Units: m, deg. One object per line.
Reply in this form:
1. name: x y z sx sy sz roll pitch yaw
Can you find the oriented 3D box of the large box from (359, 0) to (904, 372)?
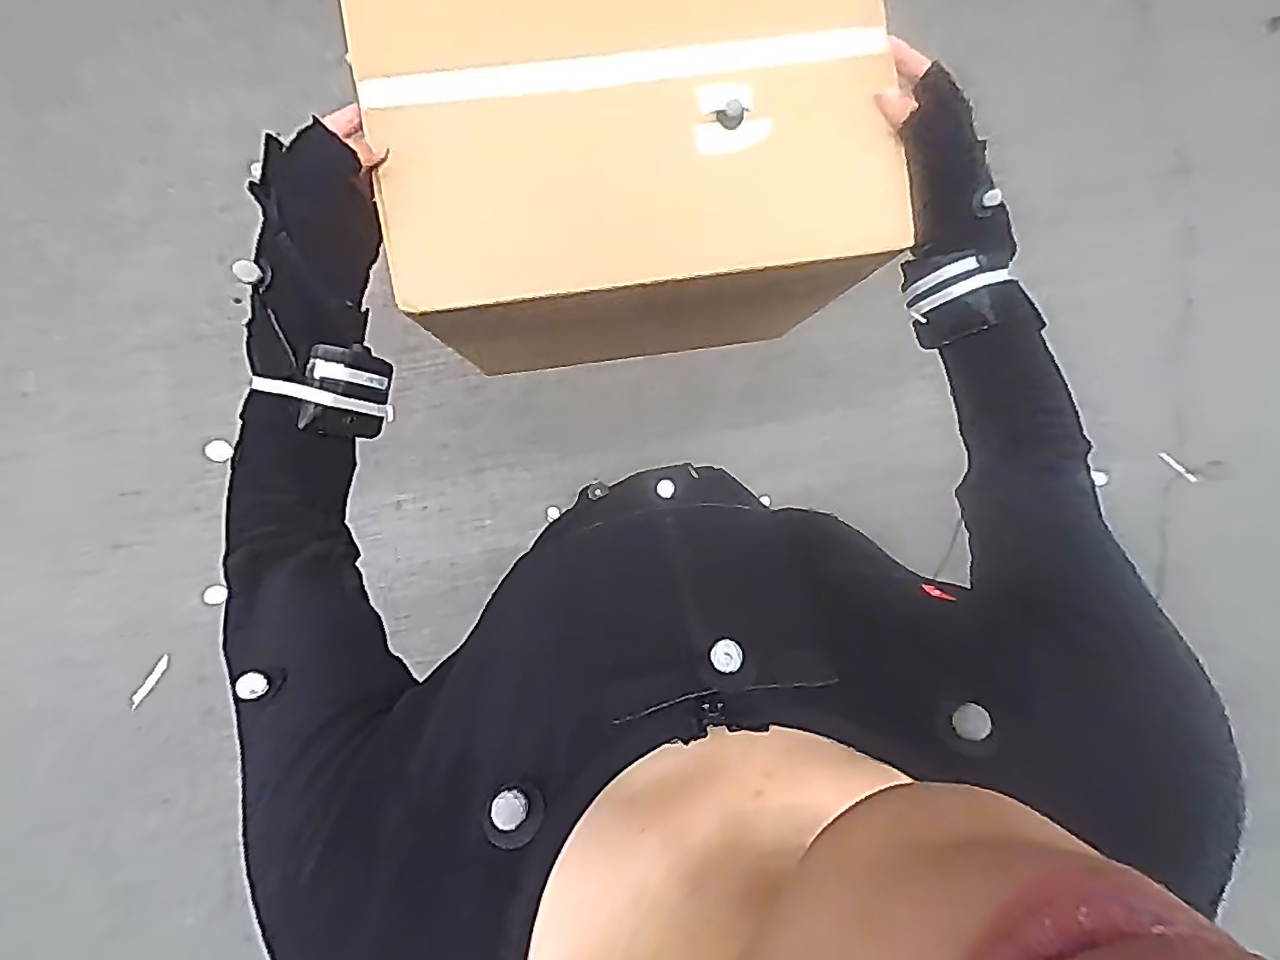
1. large box: -0.016 -0.319 0.570 0.408 0.320 0.320 -9 93 -4
